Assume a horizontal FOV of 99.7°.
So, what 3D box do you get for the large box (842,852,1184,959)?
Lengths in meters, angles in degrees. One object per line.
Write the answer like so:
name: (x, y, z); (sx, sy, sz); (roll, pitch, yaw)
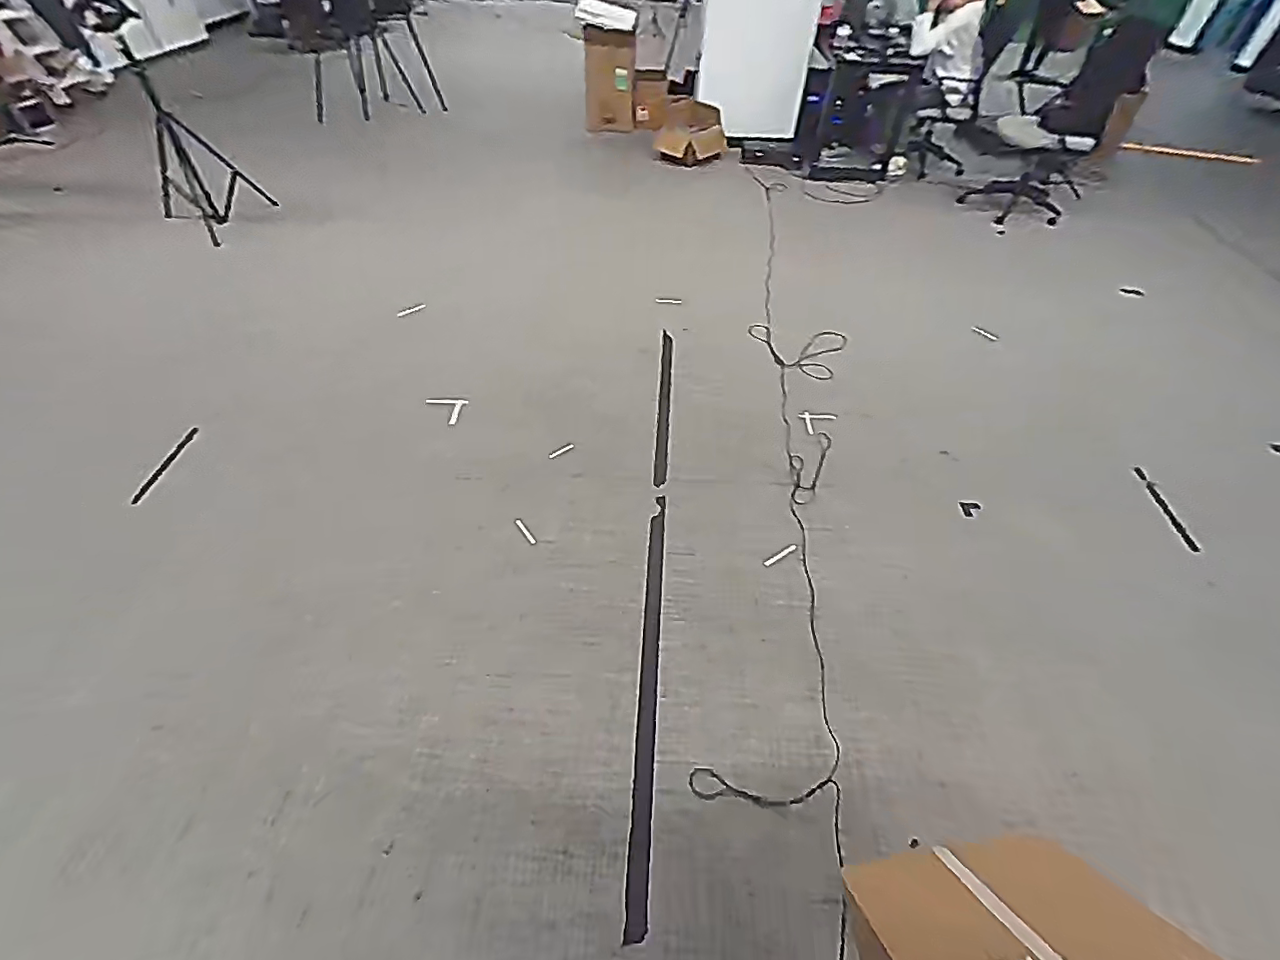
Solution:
large box: (0.476, 0.705, 0.606); (0.320, 0.408, 0.320); (-10, 81, -1)
